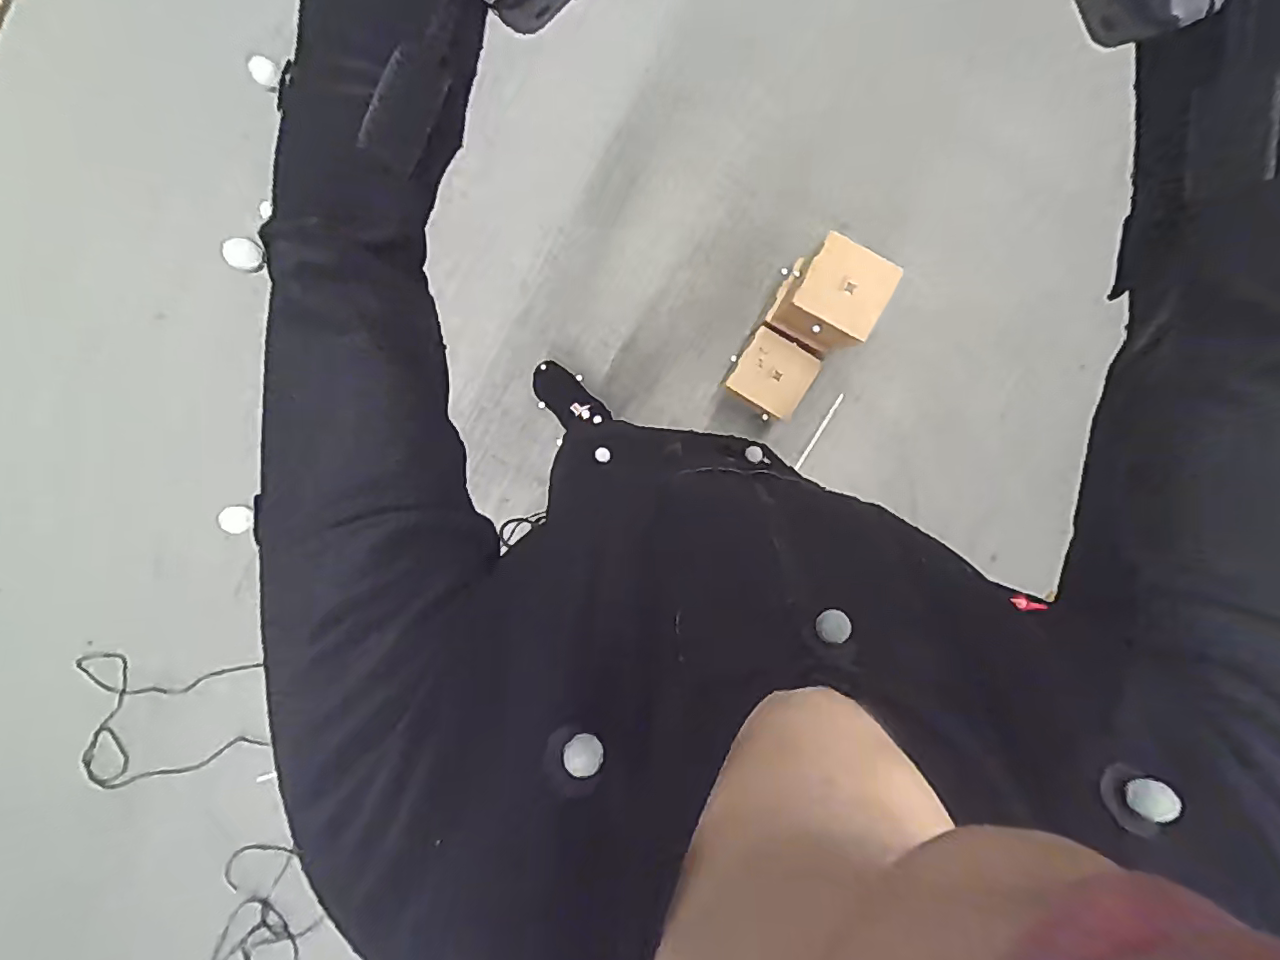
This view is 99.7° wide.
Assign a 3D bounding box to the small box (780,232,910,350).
[{"bbox_3d":[0.433,-0.397,1.172,0.179,0.176,0.168,29,96,-1],"label":"small box"}]
